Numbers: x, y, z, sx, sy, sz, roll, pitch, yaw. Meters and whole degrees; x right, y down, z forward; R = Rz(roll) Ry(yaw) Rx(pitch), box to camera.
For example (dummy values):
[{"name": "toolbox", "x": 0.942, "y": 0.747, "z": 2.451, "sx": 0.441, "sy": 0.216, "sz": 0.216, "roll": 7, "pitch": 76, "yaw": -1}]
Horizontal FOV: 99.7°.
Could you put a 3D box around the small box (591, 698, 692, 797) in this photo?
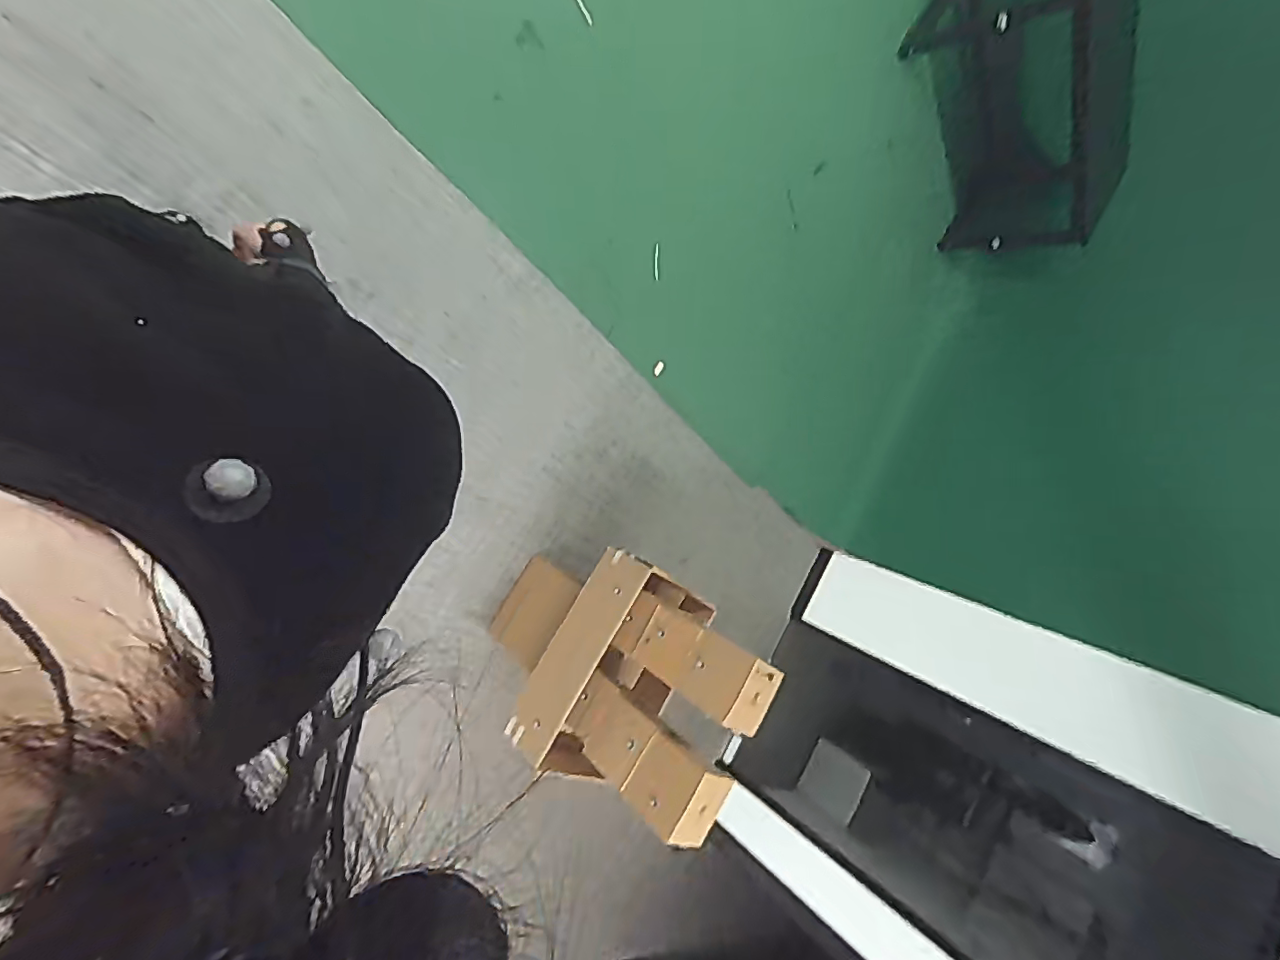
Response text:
[{"name": "small box", "x": 0.001, "y": 0.713, "z": 1.436, "sx": 0.179, "sy": 0.176, "sz": 0.168, "roll": -56, "pitch": 132, "yaw": -11}]

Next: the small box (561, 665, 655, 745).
[{"name": "small box", "x": -0.096, "y": 0.662, "z": 1.559, "sx": 0.168, "sy": 0.176, "sz": 0.179, "roll": -55, "pitch": 132, "yaw": -12}]

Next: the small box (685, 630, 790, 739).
[{"name": "small box", "x": 0.237, "y": 0.508, "z": 1.350, "sx": 0.168, "sy": 0.176, "sz": 0.179, "roll": 41, "pitch": 77, "yaw": -42}]

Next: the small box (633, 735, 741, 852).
[{"name": "small box", "x": 0.108, "y": 0.763, "z": 1.323, "sx": 0.168, "sy": 0.176, "sz": 0.179, "roll": 44, "pitch": 75, "yaw": -42}]
